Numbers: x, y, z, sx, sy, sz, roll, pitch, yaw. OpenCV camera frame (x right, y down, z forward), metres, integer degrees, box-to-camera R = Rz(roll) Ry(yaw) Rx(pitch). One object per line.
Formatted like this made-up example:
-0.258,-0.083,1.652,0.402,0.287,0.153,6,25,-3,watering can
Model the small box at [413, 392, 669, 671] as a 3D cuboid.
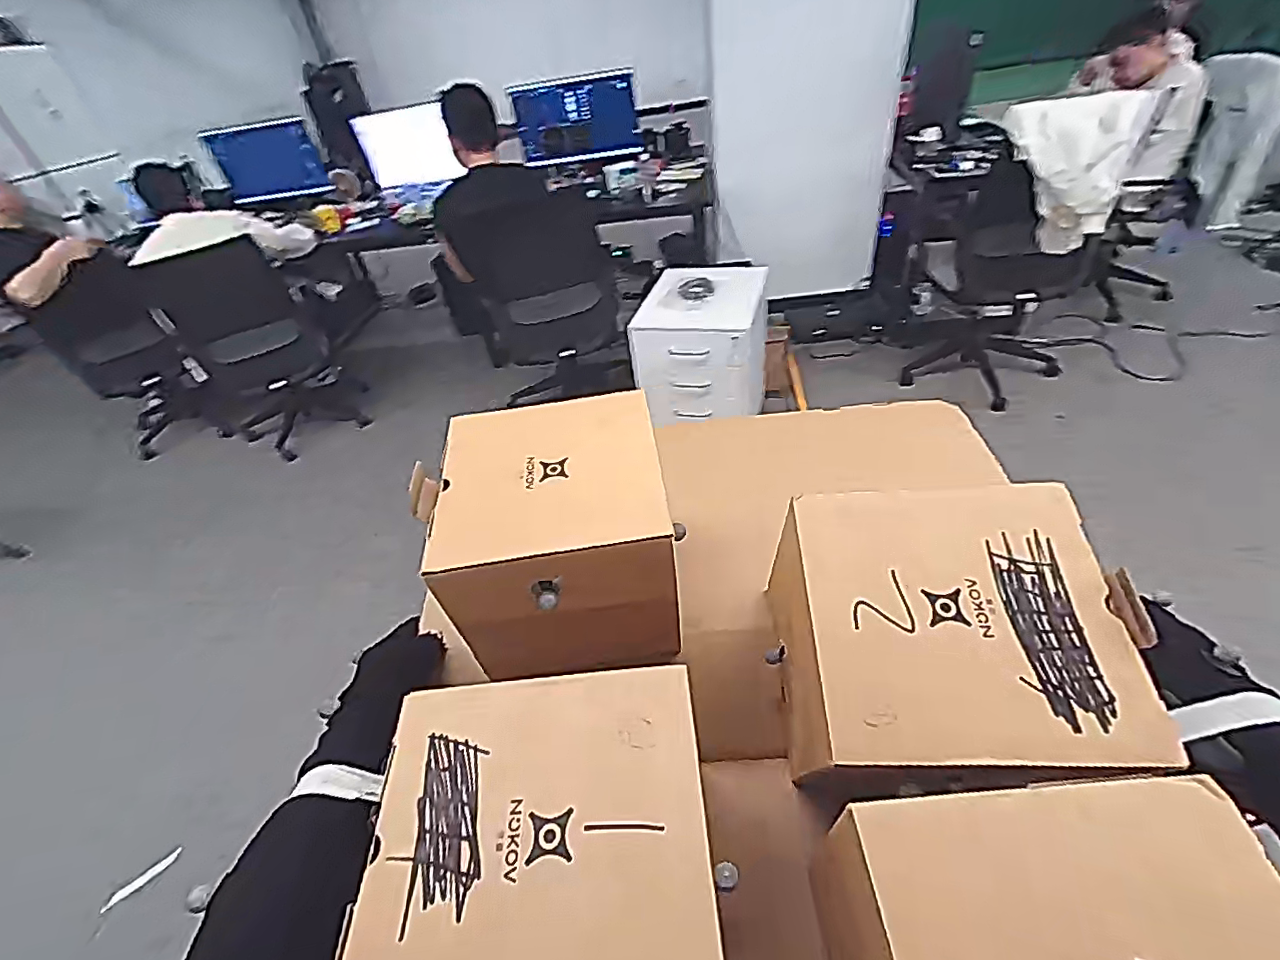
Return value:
-0.071,0.049,0.482,0.179,0.176,0.168,-10,46,0,small box
